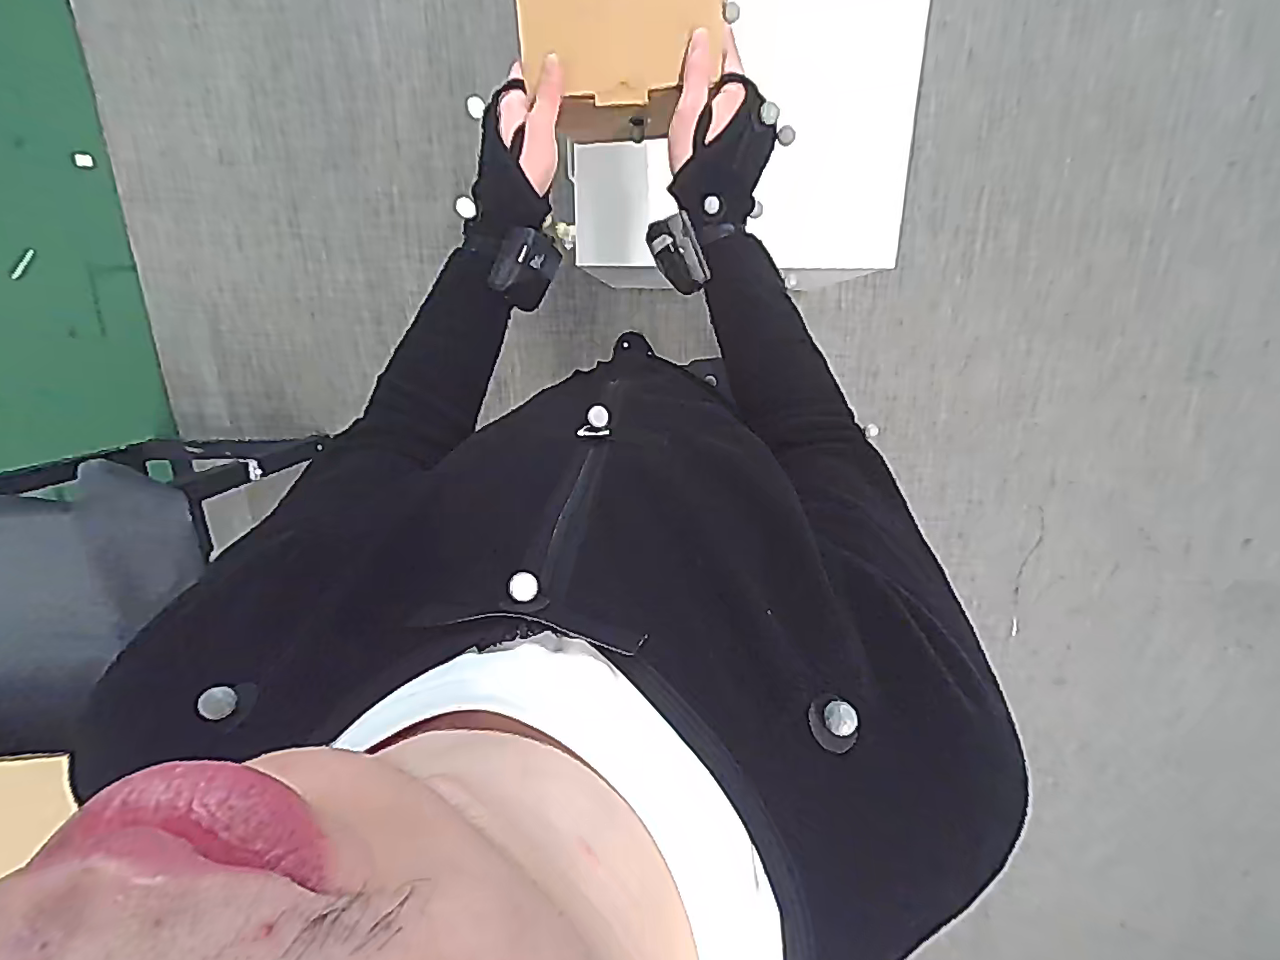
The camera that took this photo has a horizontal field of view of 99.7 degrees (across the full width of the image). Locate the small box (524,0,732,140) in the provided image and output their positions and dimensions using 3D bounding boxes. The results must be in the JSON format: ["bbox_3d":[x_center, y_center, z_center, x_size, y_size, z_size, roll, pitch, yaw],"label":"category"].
[{"bbox_3d":[-0.001,-0.428,0.493,0.168,0.176,0.179,0,111,10],"label":"small box"}]
